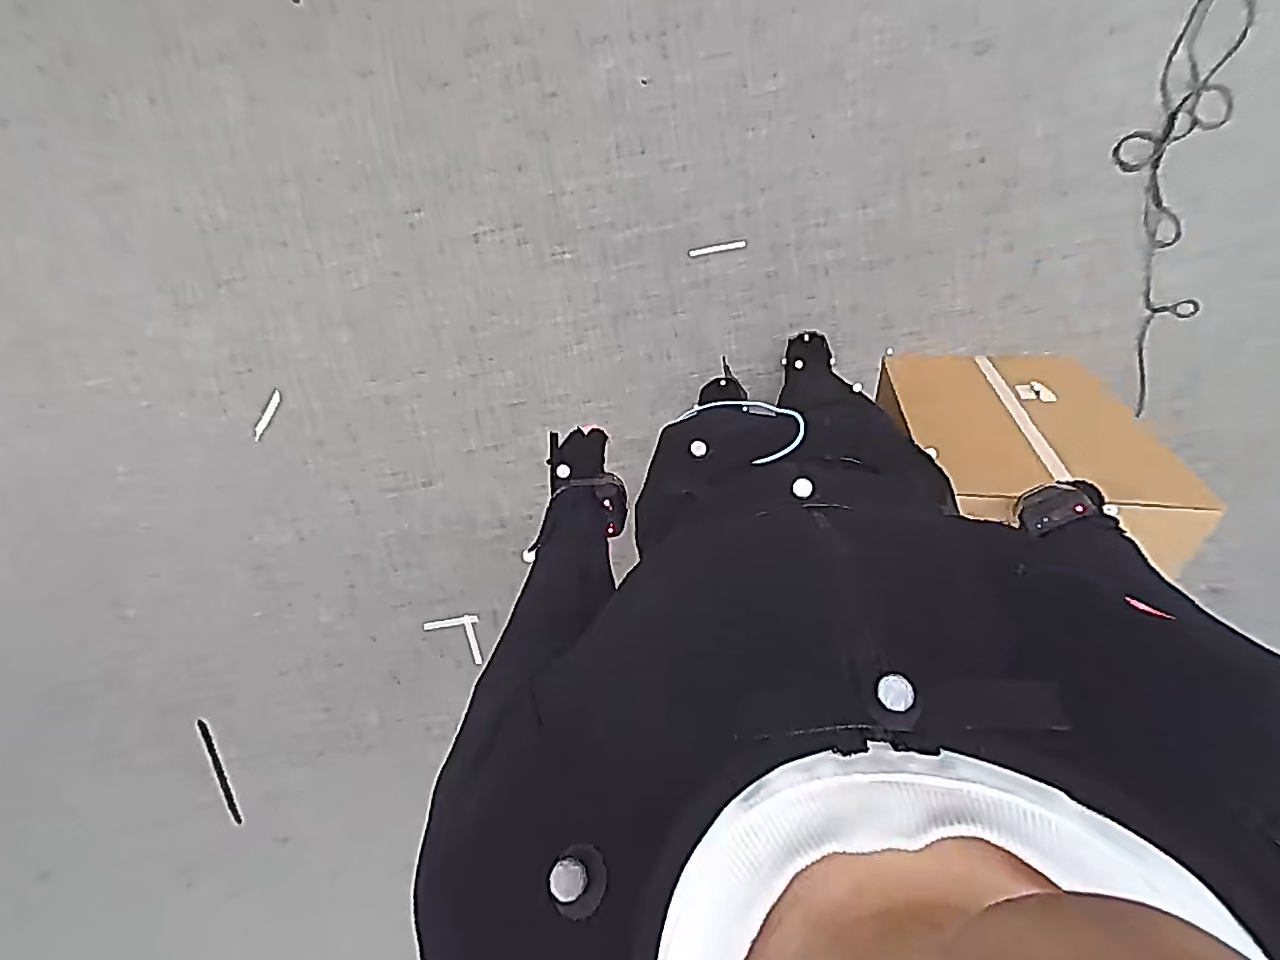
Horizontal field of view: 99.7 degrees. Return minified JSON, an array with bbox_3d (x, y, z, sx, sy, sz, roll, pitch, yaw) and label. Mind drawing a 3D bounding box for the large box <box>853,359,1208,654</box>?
[{"bbox_3d":[0.566,0.027,0.905,0.320,0.408,0.320,4,126,9],"label":"large box"}]
